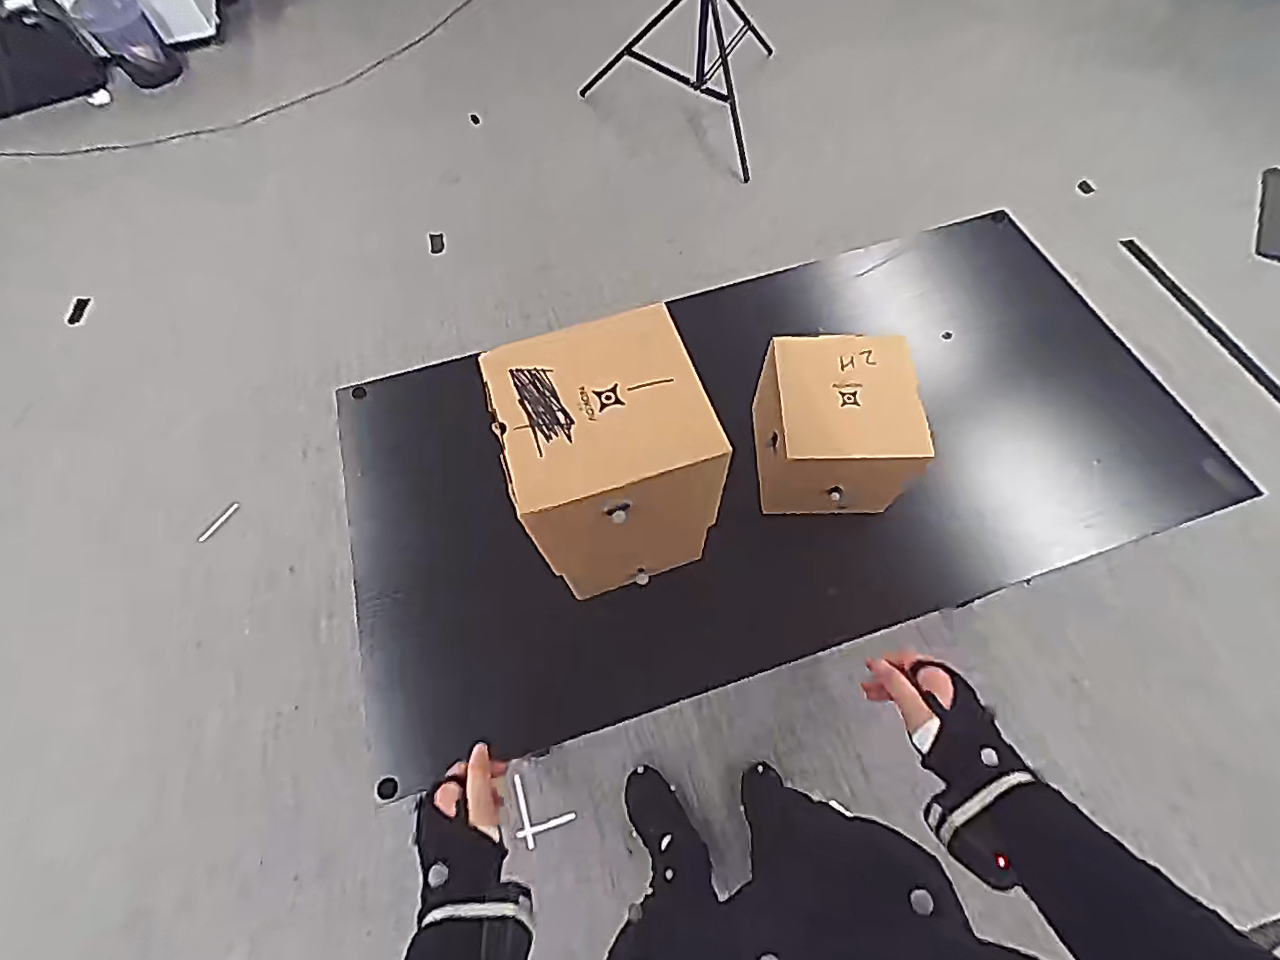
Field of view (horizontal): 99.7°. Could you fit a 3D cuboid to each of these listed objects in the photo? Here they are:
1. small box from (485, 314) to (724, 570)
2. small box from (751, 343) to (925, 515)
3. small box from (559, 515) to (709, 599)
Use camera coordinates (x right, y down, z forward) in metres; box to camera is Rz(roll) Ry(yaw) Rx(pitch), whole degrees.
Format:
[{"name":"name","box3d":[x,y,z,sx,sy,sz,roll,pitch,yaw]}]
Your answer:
[{"name":"small box","box3d":[-0.032,-0.027,0.534,0.179,0.176,0.168,-17,65,-6]},{"name":"small box","box3d":[0.247,-0.060,0.721,0.168,0.176,0.179,0,64,2]},{"name":"small box","box3d":[-0.030,0.034,0.689,0.179,0.176,0.168,-18,65,-7]}]
